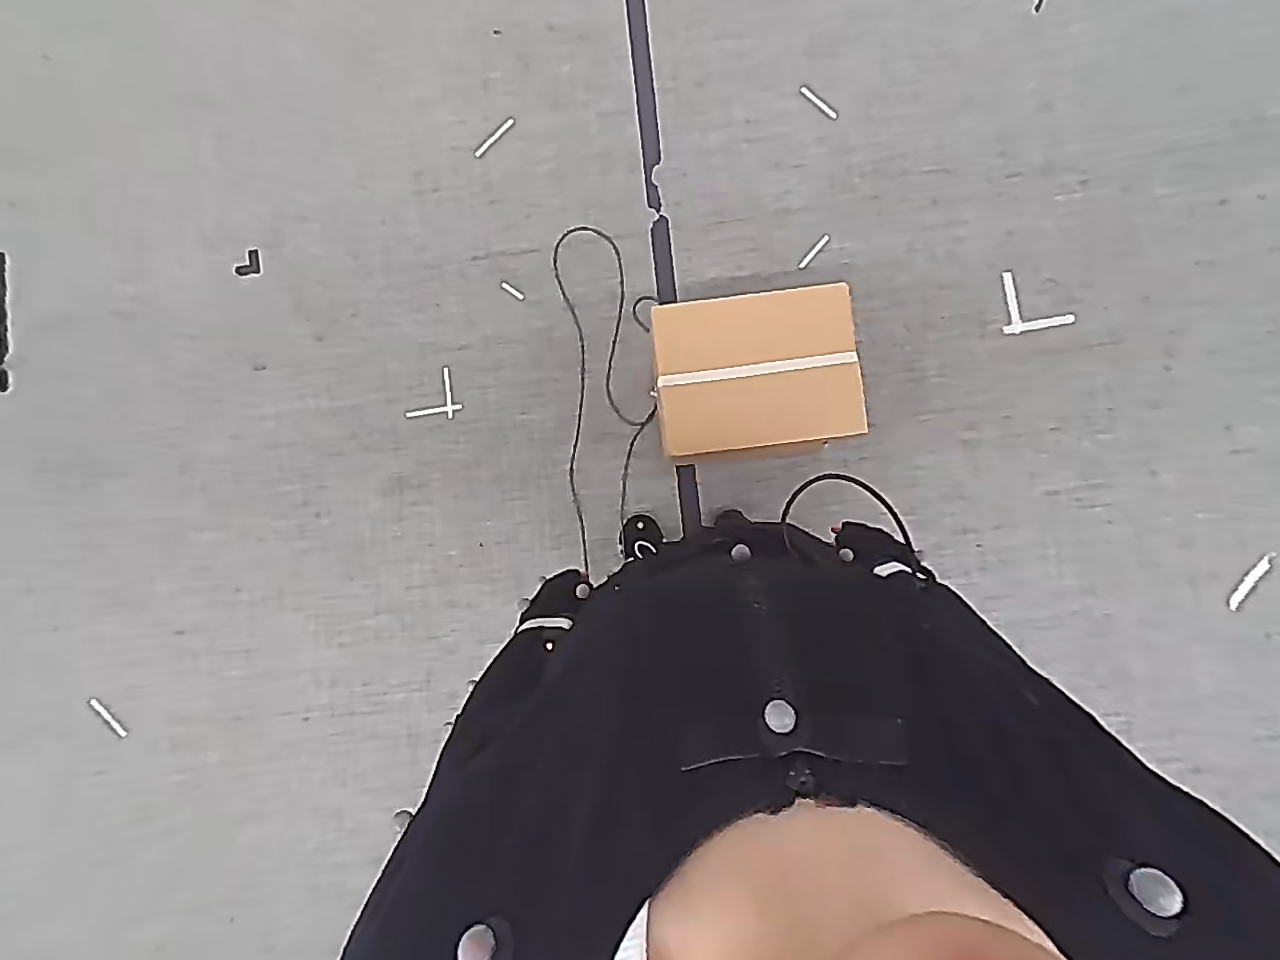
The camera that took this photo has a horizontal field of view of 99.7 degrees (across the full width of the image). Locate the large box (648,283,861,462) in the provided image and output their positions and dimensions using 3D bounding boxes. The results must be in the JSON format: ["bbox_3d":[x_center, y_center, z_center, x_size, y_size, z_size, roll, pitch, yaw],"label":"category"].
[{"bbox_3d":[0.239,-0.223,1.249,0.408,0.320,0.320,-7,88,2],"label":"large box"}]
